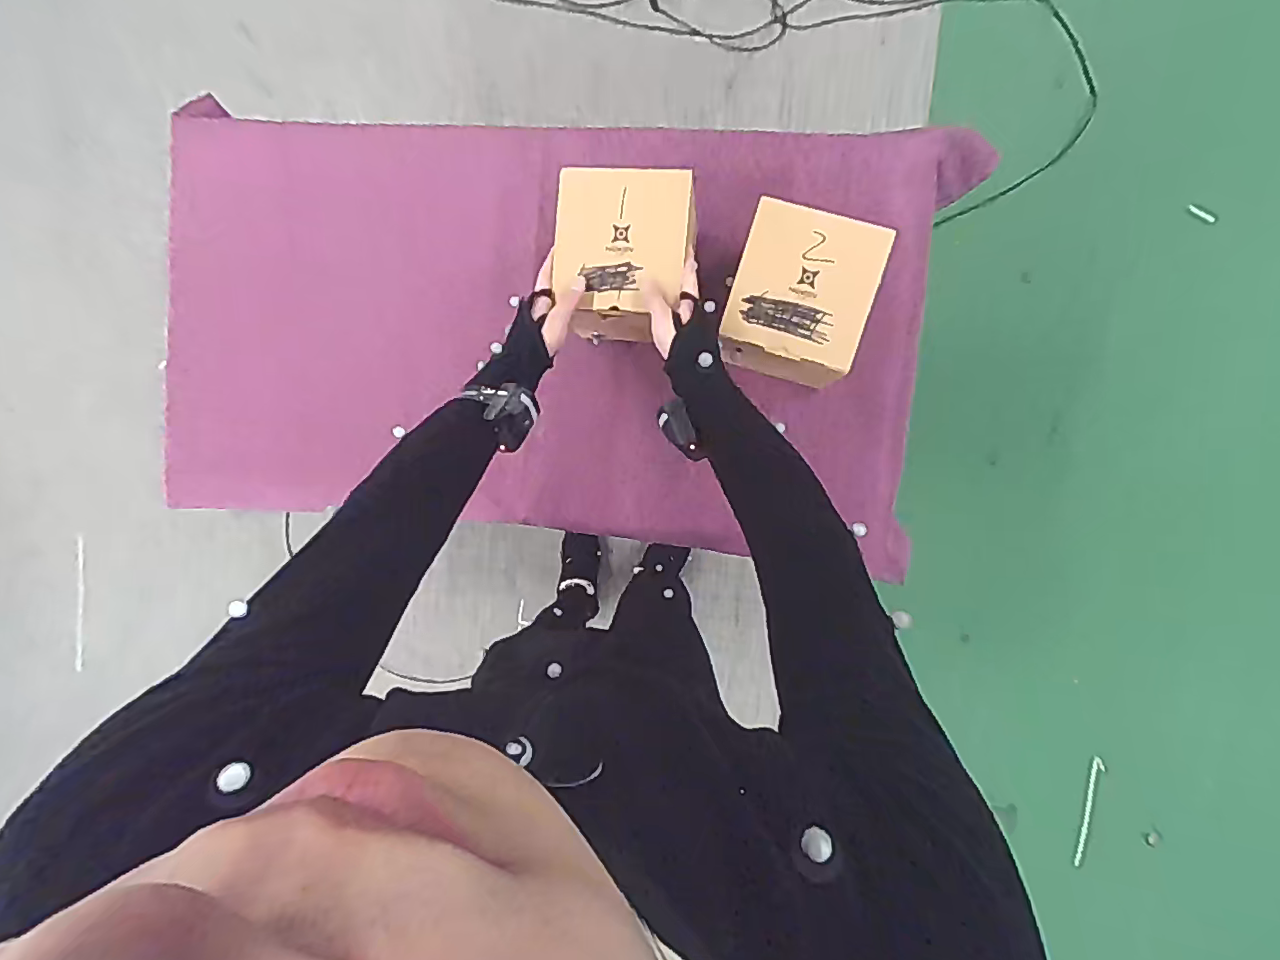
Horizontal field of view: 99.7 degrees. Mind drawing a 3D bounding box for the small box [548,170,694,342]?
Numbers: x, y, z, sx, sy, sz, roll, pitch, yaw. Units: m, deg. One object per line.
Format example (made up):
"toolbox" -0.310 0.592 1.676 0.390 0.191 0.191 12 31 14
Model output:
"small box" -0.017 -0.292 0.738 0.168 0.176 0.179 5 93 7
